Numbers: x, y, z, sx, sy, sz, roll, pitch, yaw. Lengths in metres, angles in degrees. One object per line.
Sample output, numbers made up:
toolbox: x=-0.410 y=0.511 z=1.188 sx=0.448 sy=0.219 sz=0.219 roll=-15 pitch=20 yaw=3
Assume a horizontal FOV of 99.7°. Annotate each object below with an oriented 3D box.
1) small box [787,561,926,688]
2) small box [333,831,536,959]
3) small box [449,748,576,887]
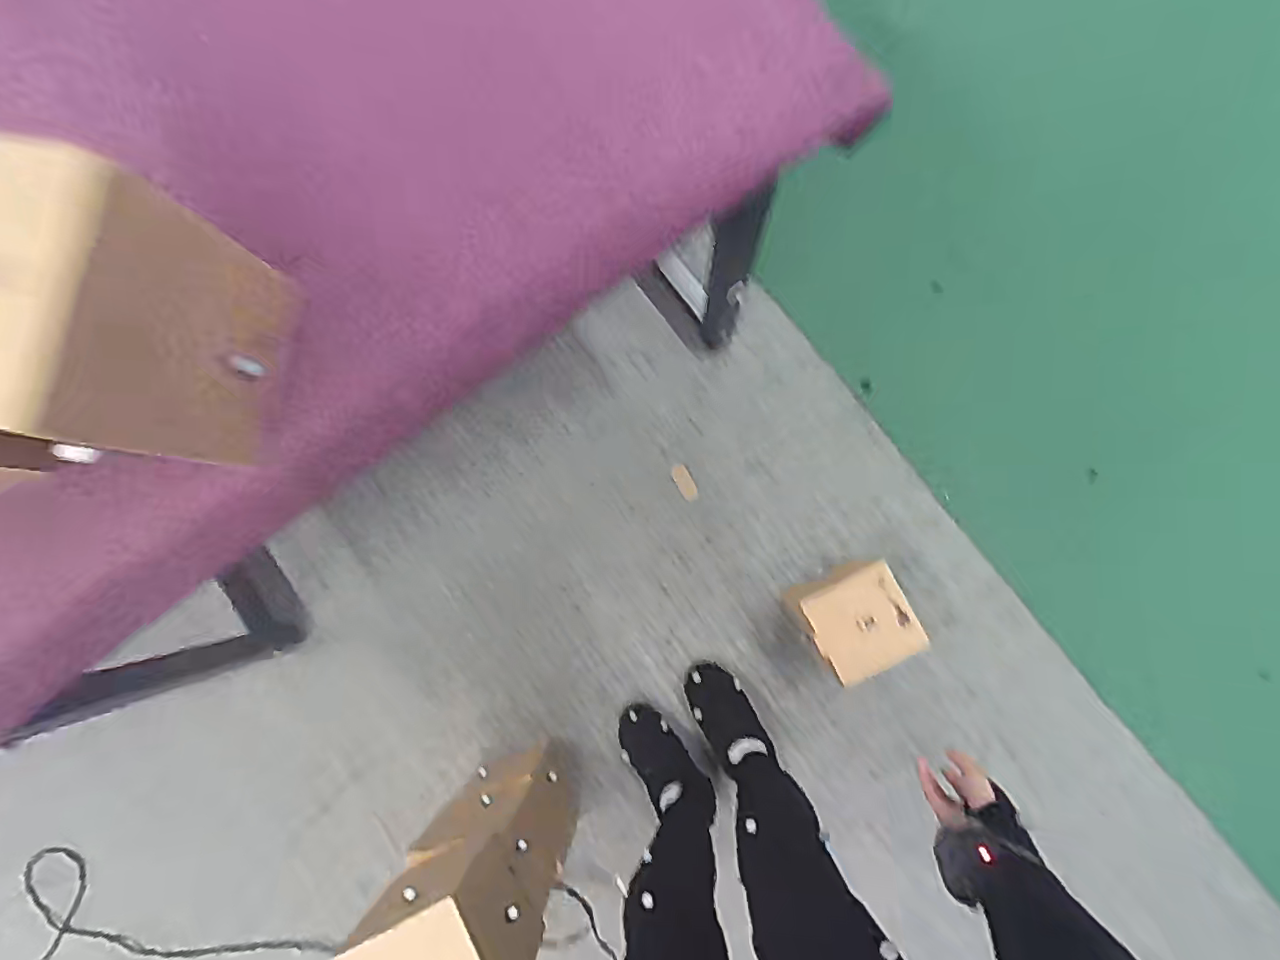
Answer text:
small box: x=0.401 y=0.269 z=1.041 sx=0.179 sy=0.176 sz=0.168 roll=-27 pitch=84 yaw=1
small box: x=-0.253 y=0.614 z=0.716 sx=0.179 sy=0.176 sz=0.168 roll=-28 pitch=82 yaw=1
small box: x=-0.236 y=0.644 z=1.040 sx=0.168 sy=0.176 sz=0.179 roll=-21 pitch=84 yaw=2
